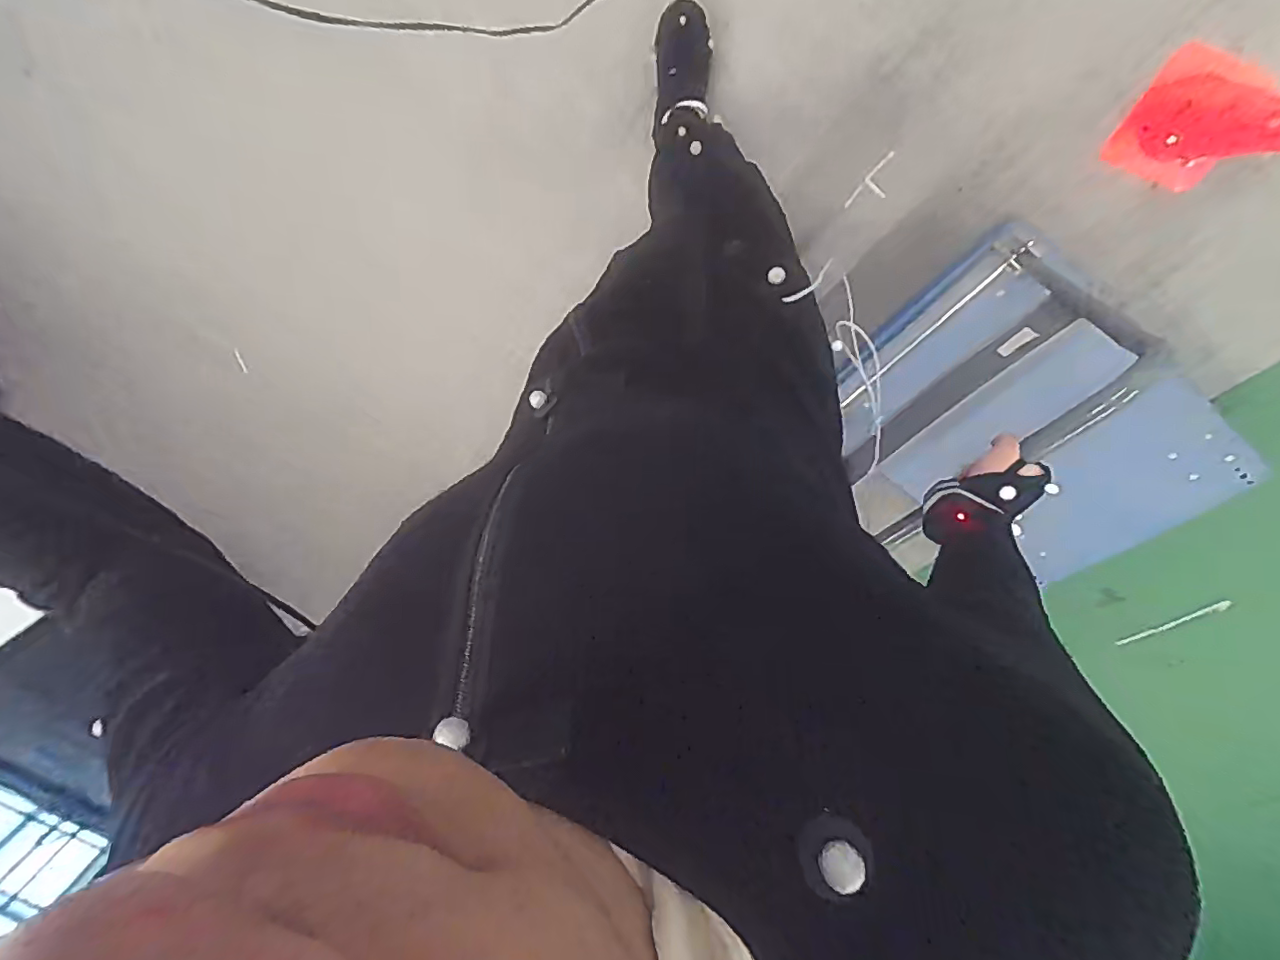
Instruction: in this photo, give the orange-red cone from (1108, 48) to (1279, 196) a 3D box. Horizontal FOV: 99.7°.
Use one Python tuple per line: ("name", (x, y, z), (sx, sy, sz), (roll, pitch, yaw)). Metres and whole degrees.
("orange-red cone", (1.017, -0.586, 0.903), (0.198, 0.360, 0.199), (24, 126, -2))
